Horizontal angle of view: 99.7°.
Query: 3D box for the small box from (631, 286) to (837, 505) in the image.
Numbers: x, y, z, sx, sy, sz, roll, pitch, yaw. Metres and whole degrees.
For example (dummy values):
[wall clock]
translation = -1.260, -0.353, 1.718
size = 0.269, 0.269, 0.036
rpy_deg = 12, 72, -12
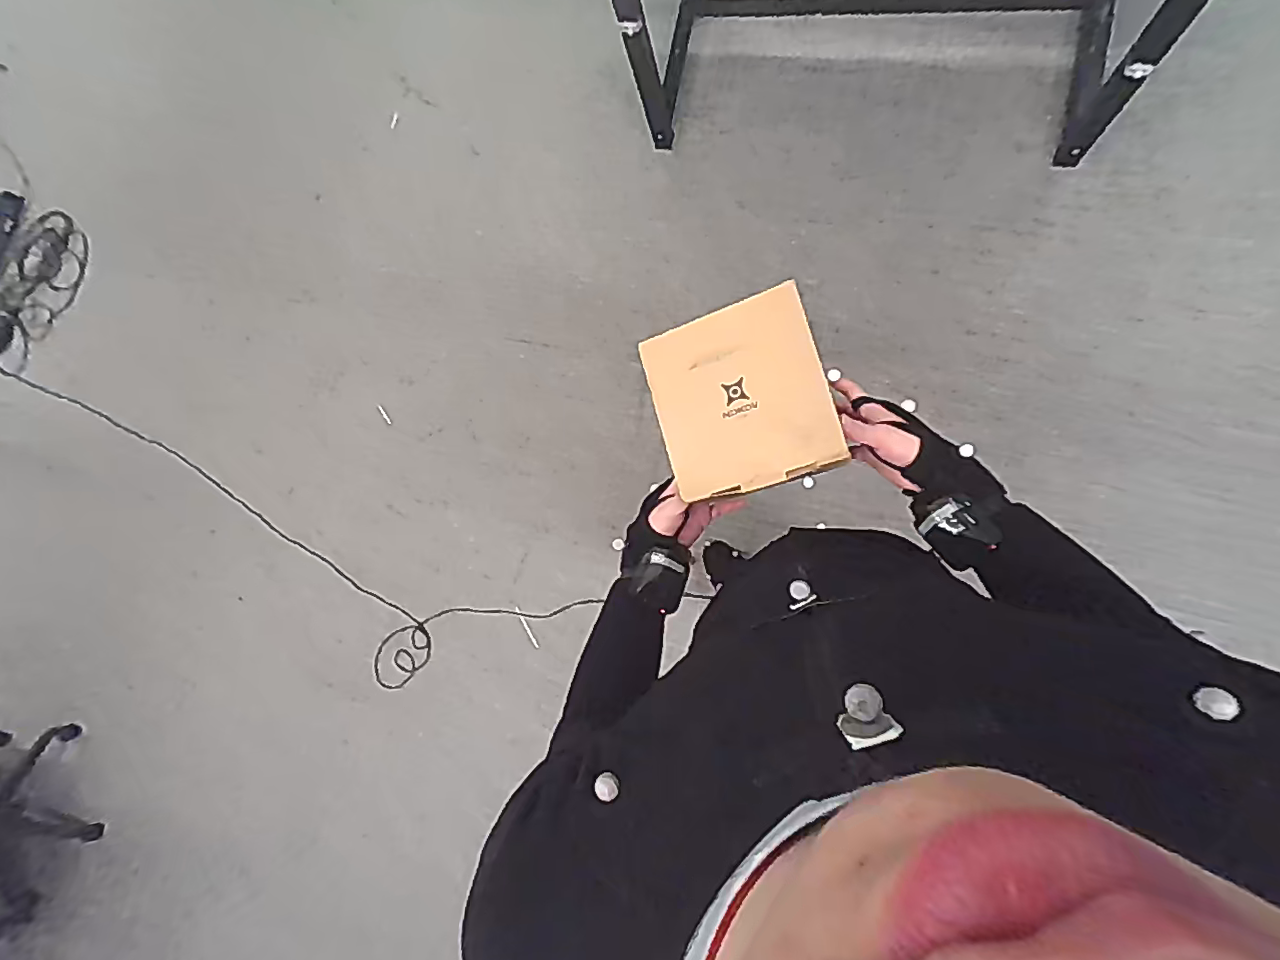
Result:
[small box]
translation = 0.113, -0.079, 0.598
size = 0.168, 0.176, 0.179
rpy_deg = -17, 83, 19
